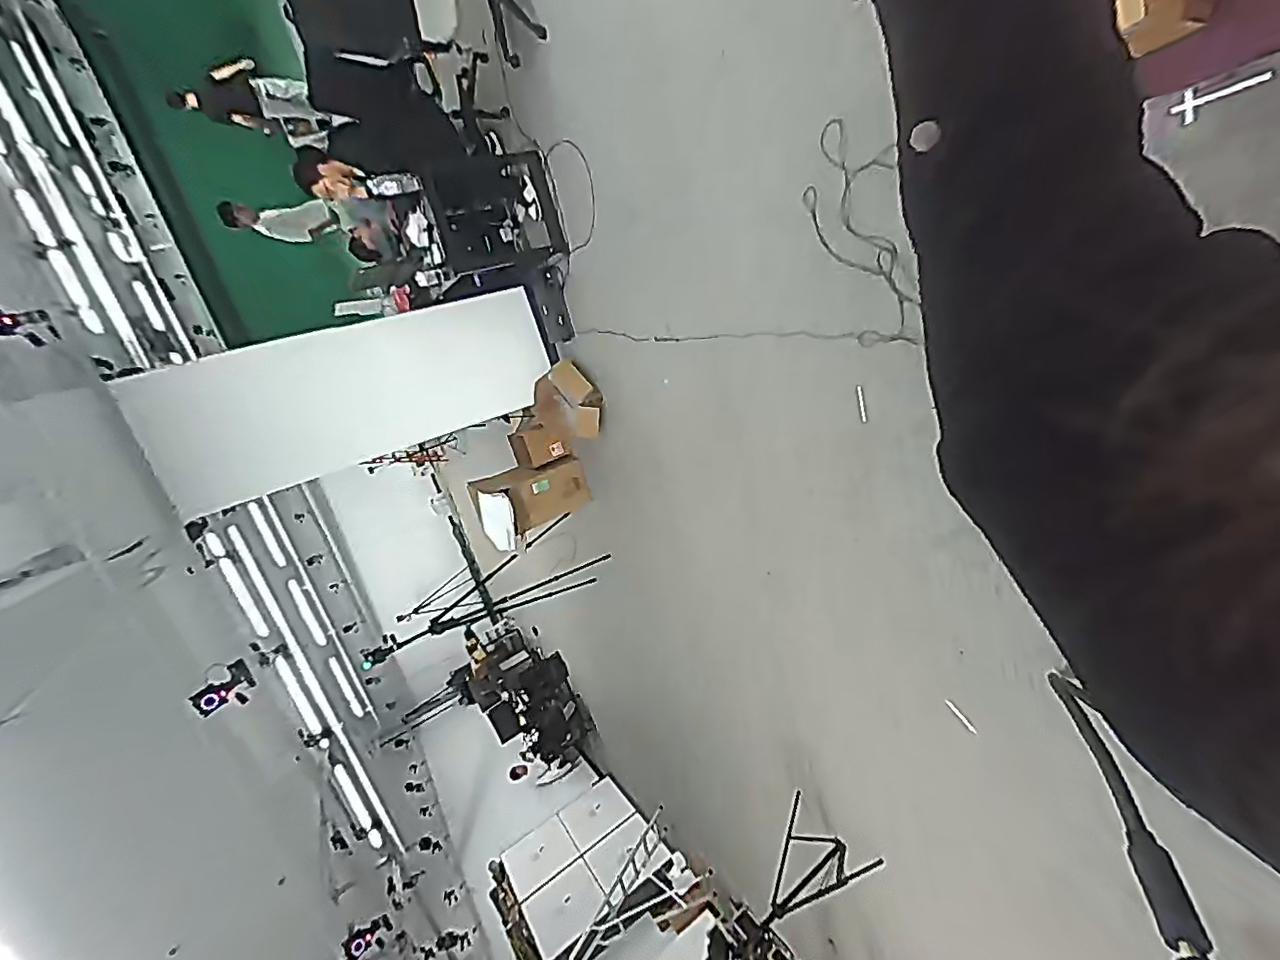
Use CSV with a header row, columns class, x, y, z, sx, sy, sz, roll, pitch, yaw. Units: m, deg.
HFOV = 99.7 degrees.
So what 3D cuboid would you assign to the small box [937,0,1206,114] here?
class,x,y,z,sx,sy,sz,roll,pitch,yaw
small box,0.457,-0.528,0.583,0.179,0.176,0.168,4,115,59
